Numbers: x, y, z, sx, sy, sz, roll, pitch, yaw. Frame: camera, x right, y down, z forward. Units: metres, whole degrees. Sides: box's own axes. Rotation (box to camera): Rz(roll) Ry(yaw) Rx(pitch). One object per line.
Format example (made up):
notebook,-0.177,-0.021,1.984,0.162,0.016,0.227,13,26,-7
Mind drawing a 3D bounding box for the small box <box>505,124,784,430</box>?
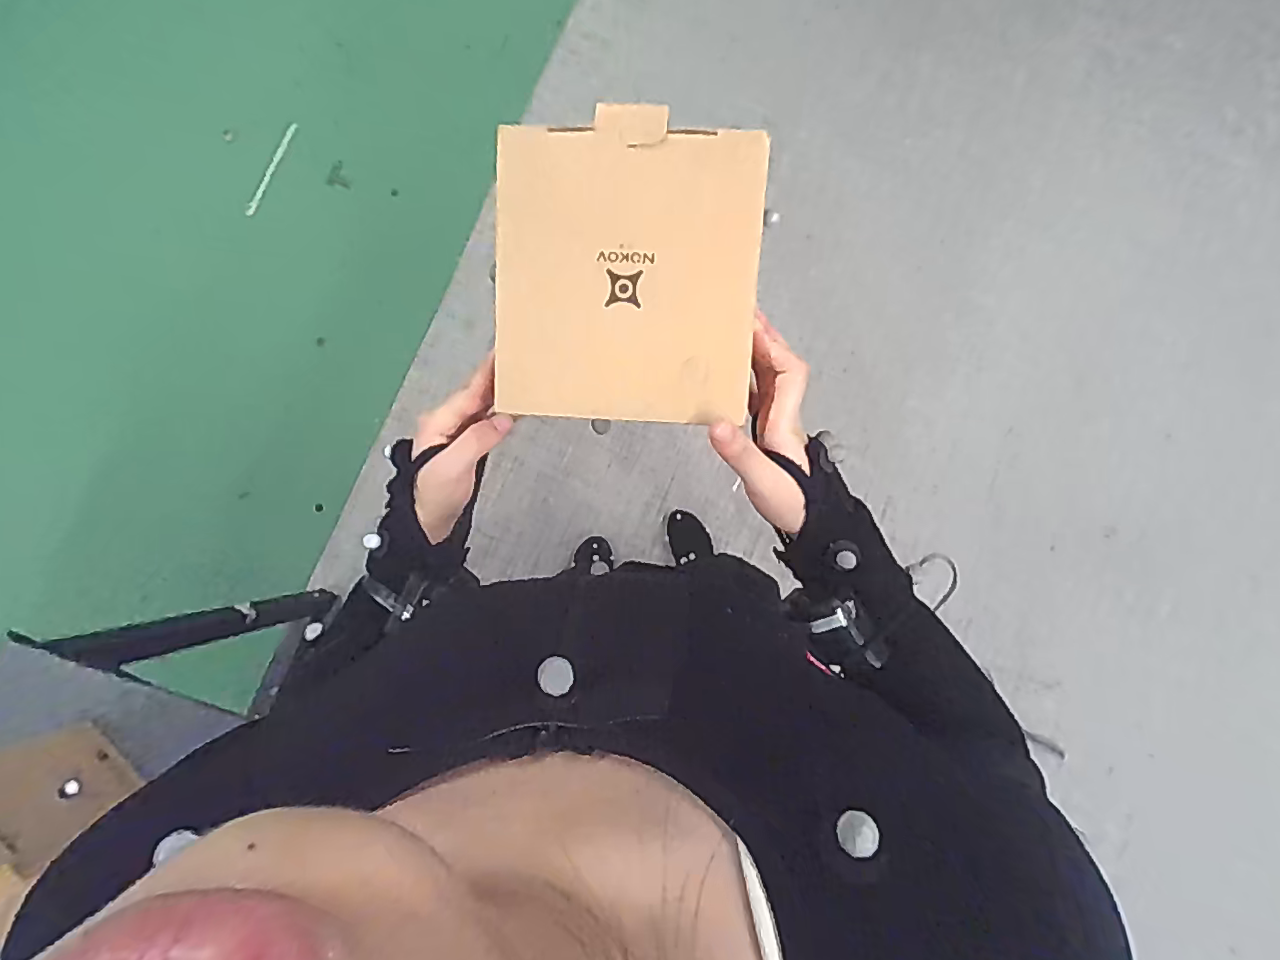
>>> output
small box,0.005,-0.136,0.412,0.168,0.176,0.179,4,99,3
